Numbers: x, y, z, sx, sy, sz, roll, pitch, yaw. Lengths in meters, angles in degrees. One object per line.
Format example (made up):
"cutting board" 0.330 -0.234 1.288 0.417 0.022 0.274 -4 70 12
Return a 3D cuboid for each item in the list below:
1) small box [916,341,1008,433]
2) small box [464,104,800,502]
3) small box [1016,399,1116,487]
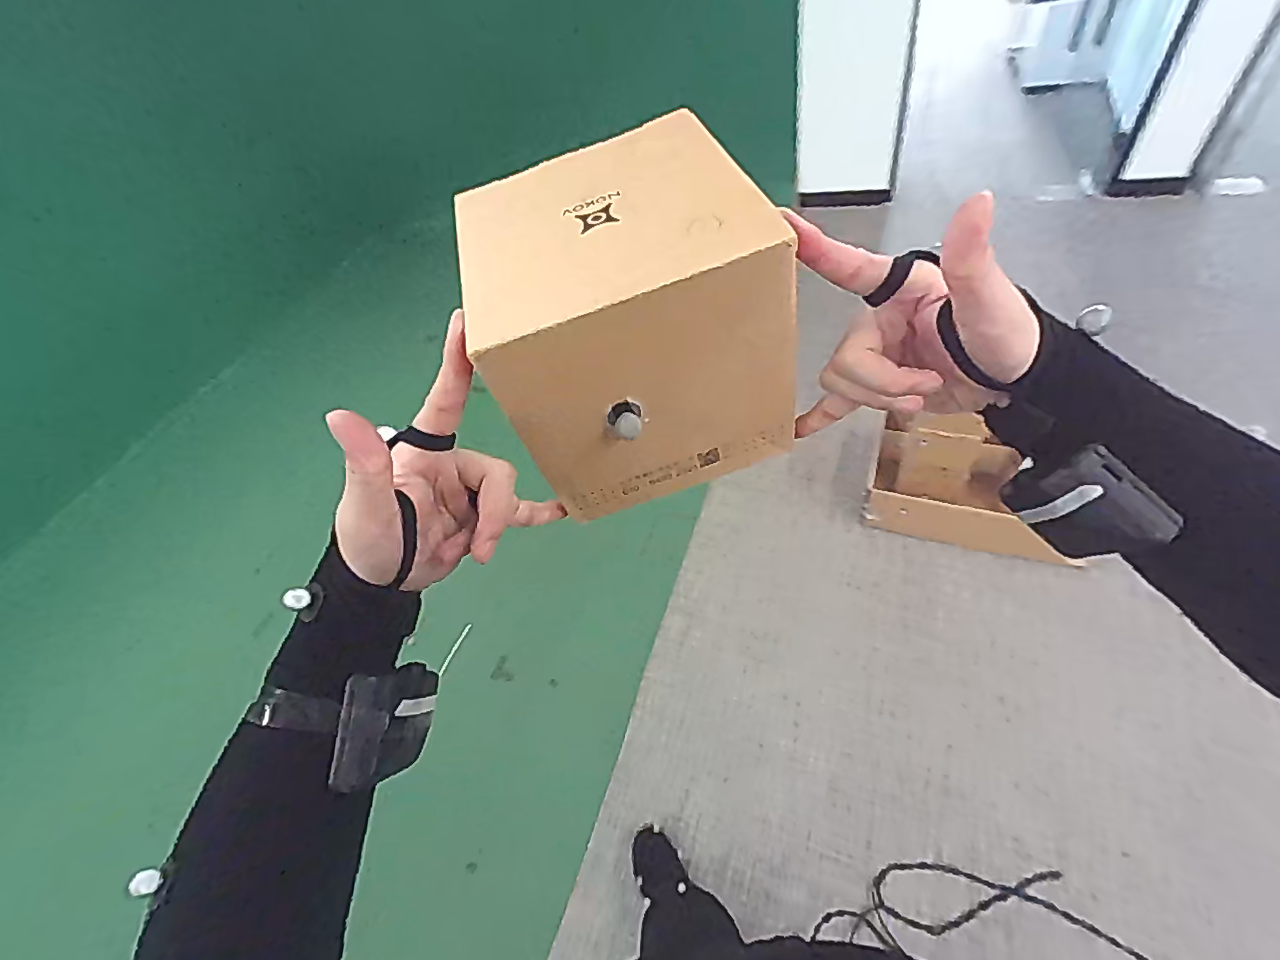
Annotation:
"small box" 0.853 -0.245 1.442 0.179 0.176 0.168 13 57 22
"small box" -0.001 -0.105 0.365 0.168 0.176 0.179 -19 52 2
"small box" 1.142 -0.098 1.466 0.179 0.176 0.168 10 58 22
